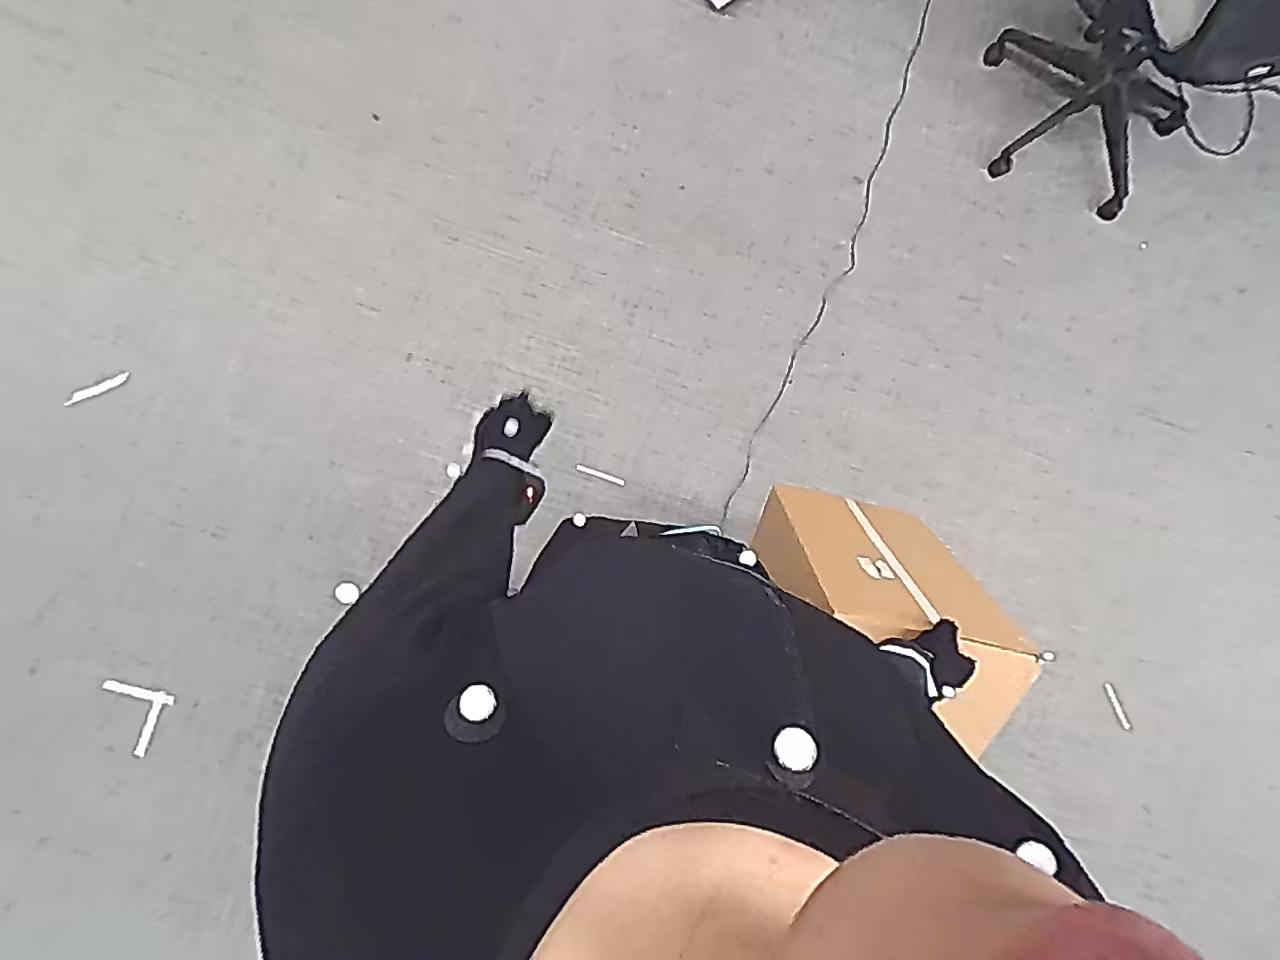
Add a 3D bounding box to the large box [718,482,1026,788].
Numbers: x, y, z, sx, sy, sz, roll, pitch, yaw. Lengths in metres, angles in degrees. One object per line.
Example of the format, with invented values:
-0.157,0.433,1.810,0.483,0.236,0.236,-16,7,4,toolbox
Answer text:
0.355,0.254,0.977,0.320,0.408,0.320,12,115,-5,large box
